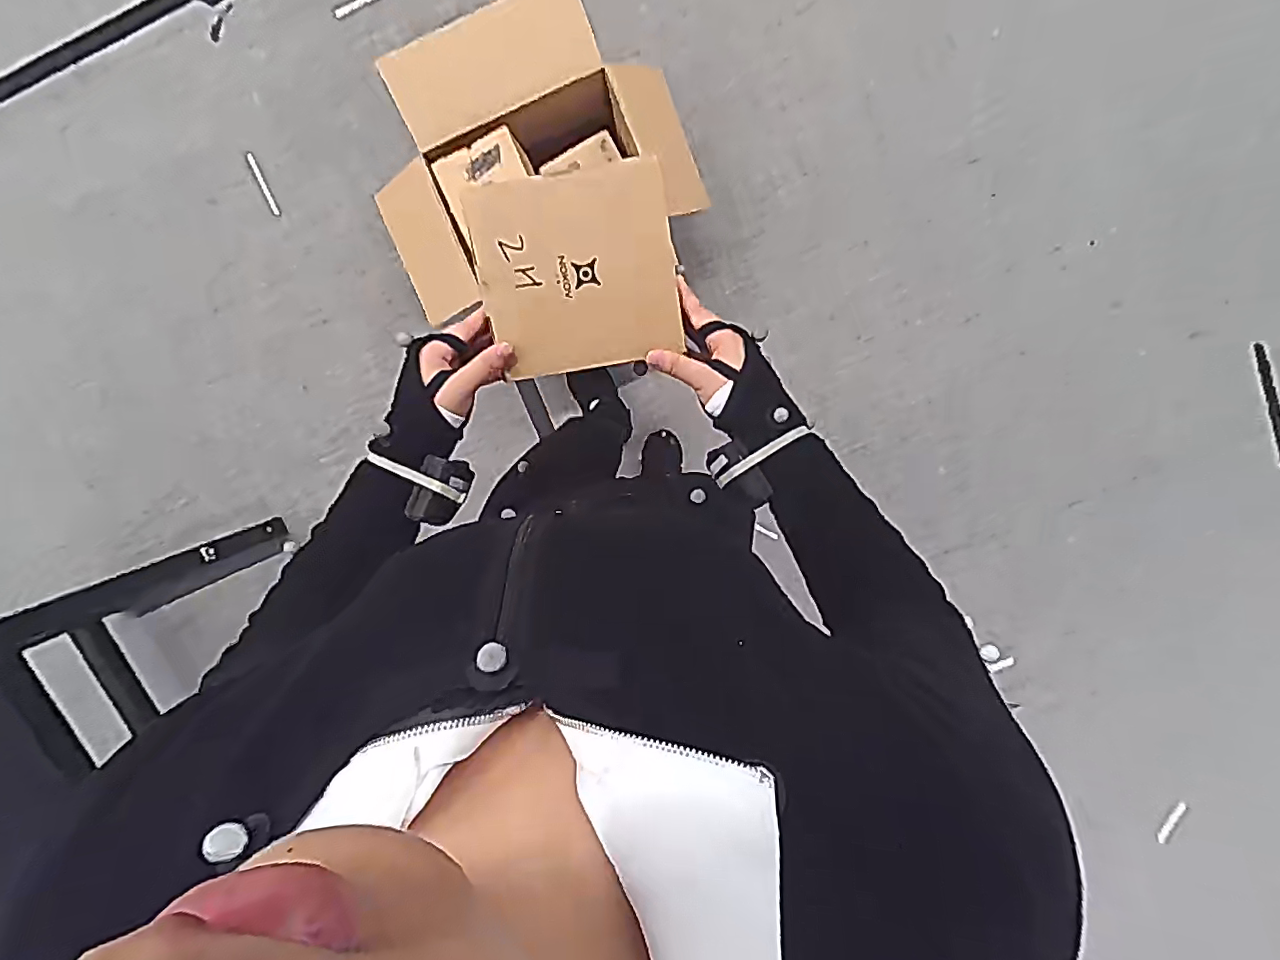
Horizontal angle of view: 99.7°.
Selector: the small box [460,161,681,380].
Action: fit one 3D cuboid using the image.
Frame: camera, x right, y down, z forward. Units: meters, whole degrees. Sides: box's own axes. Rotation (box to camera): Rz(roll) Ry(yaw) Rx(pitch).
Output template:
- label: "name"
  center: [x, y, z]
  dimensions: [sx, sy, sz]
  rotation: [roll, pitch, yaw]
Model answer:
- label: "small box"
  center: [-0.059, -0.207, 0.562]
  dimensions: [0.179, 0.176, 0.168]
  rotation: [-9, 106, 4]
